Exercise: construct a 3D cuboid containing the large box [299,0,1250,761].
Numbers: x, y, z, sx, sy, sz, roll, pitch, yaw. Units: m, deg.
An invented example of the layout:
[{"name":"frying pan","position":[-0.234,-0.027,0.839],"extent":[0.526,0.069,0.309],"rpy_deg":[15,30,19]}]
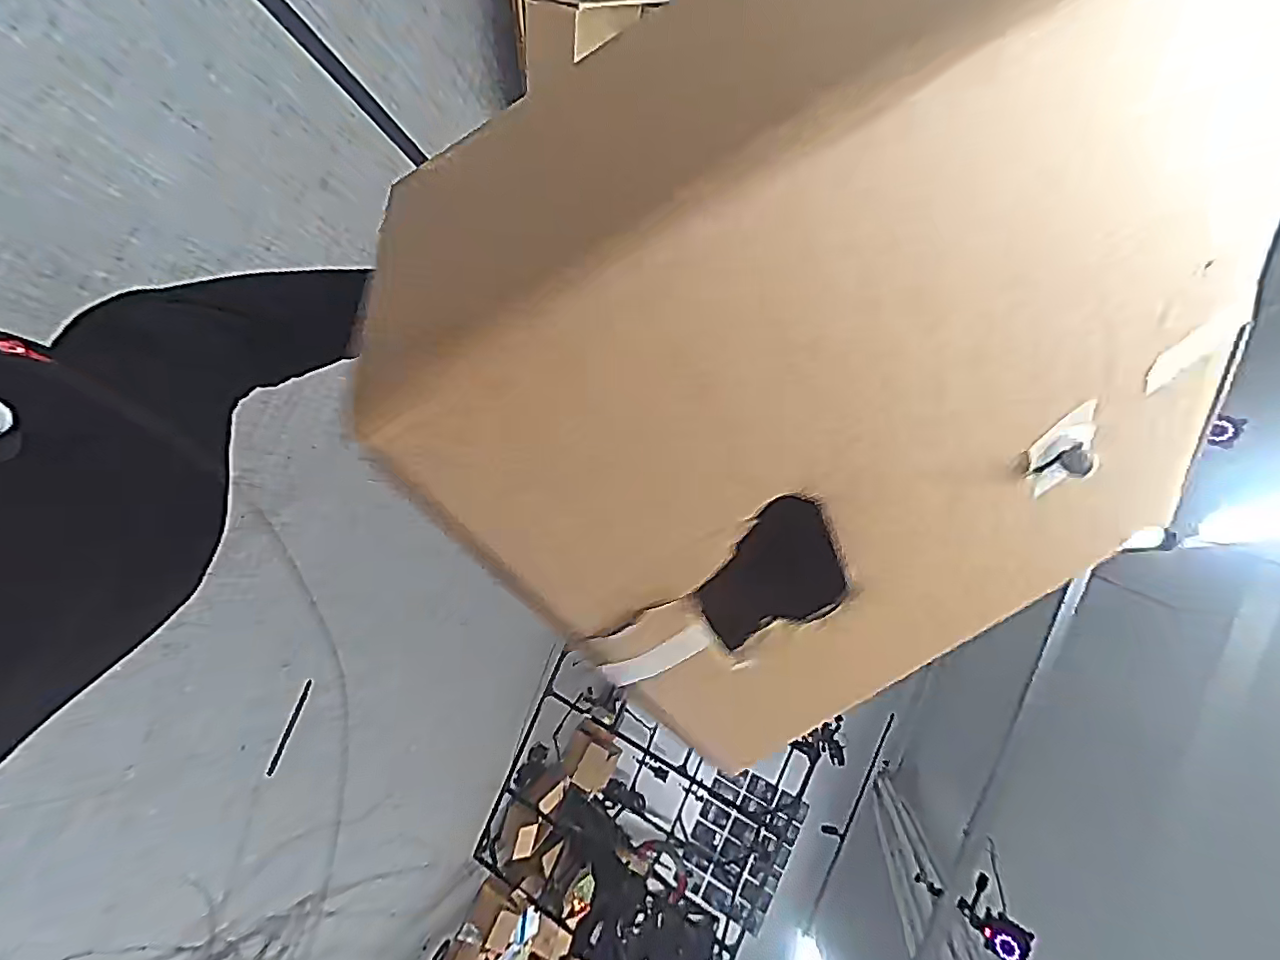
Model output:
[{"name":"large box","position":[0.047,-0.106,0.384],"extent":[0.320,0.408,0.320],"rpy_deg":[-30,129,3]}]
